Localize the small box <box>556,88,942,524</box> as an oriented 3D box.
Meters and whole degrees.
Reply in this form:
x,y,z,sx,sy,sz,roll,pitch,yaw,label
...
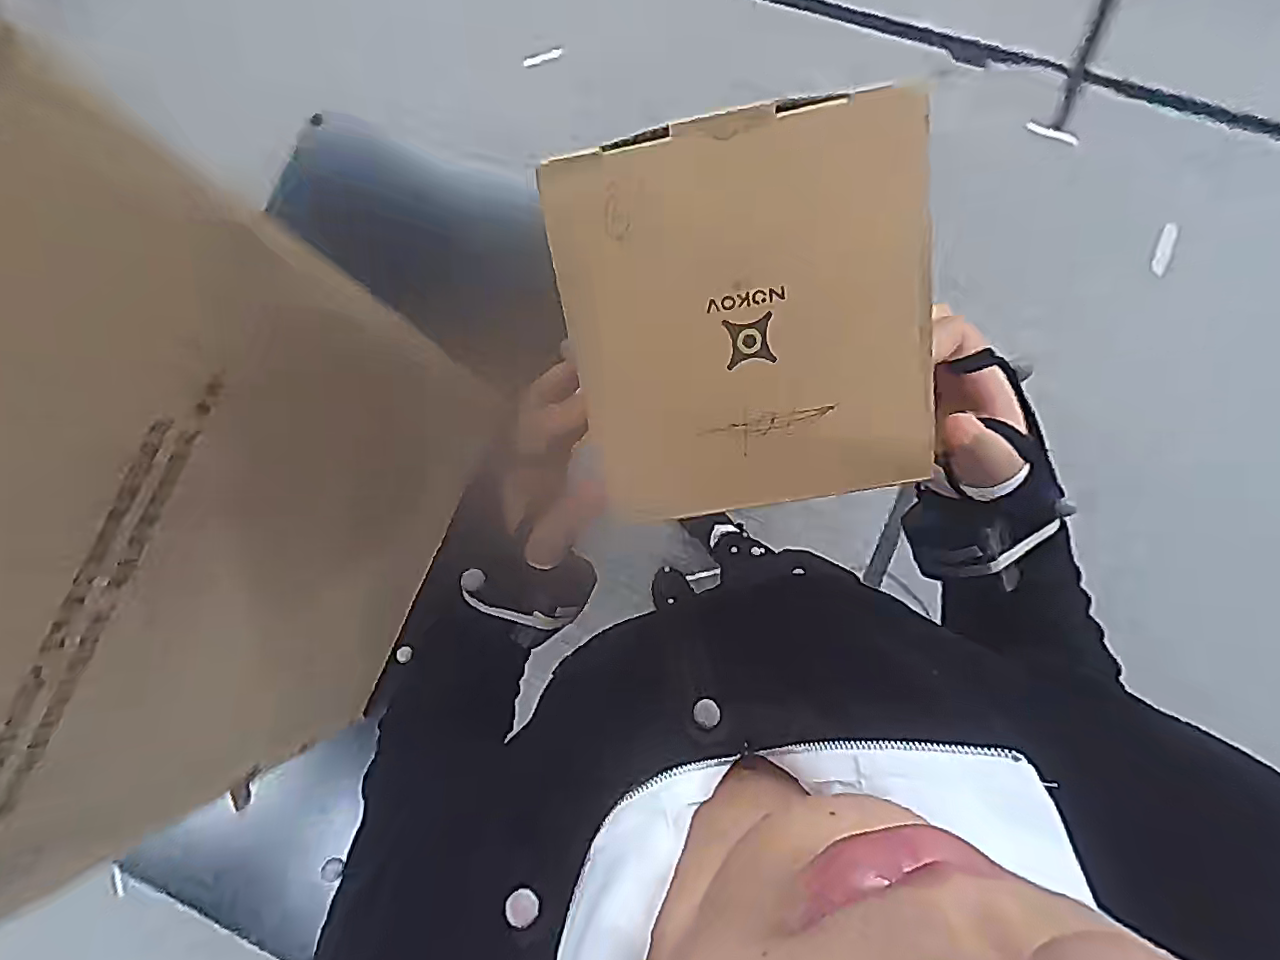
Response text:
x,y,z,sx,sy,sz,roll,pitch,yaw,label
0.057,-0.093,0.327,0.168,0.176,0.179,-8,109,5,small box
